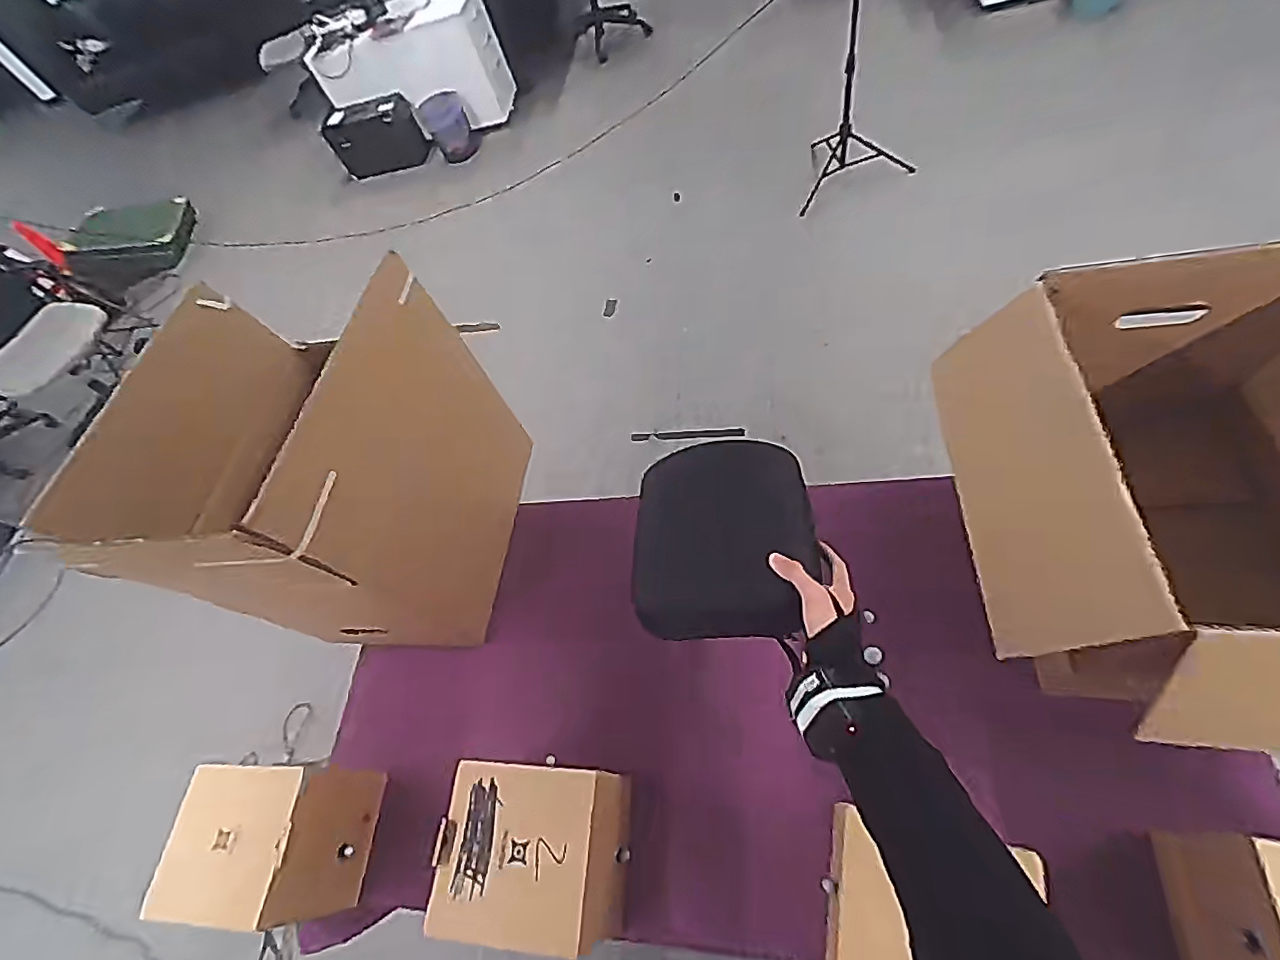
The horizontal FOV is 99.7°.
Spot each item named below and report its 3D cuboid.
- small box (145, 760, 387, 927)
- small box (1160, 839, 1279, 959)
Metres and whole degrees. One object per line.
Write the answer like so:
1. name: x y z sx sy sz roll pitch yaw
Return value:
1. small box: -0.487 0.481 0.733 0.179 0.176 0.168 -5 59 12
2. small box: 0.596 0.420 0.454 0.168 0.176 0.179 1 60 18
